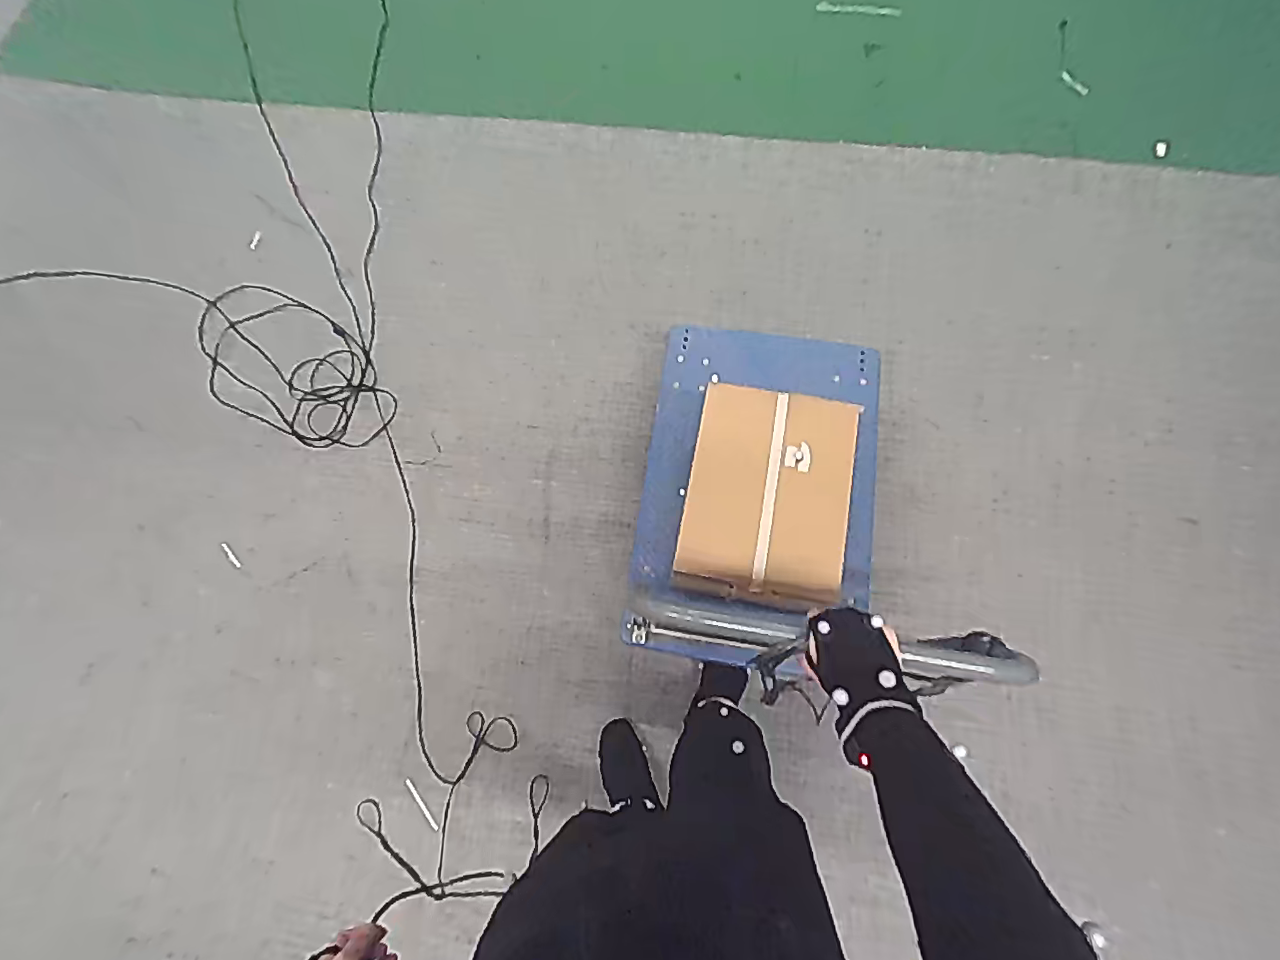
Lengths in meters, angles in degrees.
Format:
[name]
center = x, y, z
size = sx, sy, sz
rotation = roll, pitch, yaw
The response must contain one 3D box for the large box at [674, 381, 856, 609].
[large box]
center = 0.257, 0.051, 1.194
size = 0.320, 0.320, 0.408
rotation = 11, 74, 5
